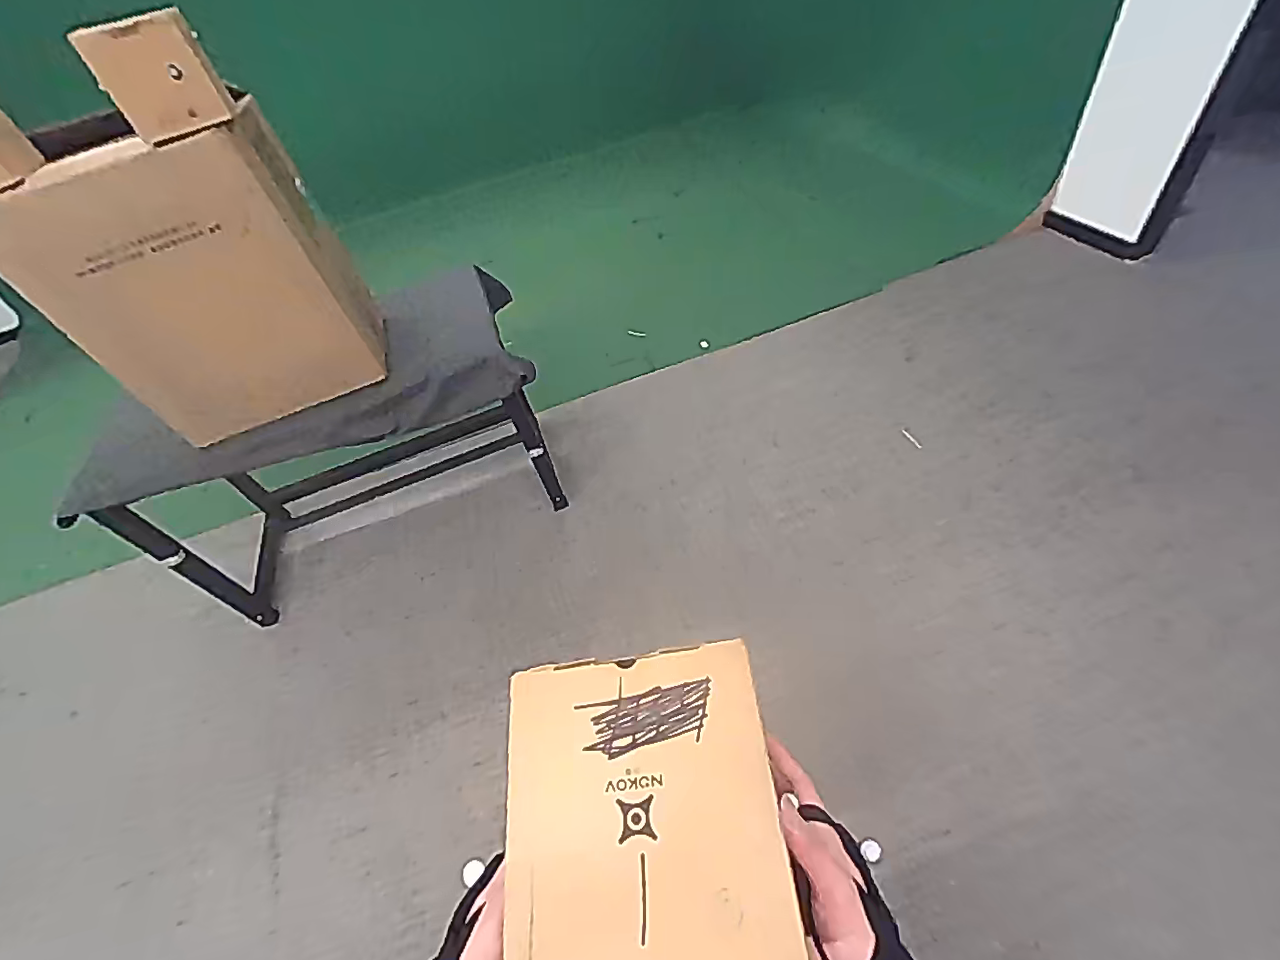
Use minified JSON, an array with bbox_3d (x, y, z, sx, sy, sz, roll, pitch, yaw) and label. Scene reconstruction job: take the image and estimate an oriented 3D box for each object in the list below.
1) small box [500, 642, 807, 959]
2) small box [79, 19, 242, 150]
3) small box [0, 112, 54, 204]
[{"bbox_3d":[0.013,0.236,0.391,0.168,0.176,0.179,-11,57,7],"label":"small box"},{"bbox_3d":[-0.915,-0.768,1.054,0.168,0.176,0.179,-27,47,-13],"label":"small box"},{"bbox_3d":[-1.282,-0.620,1.017,0.168,0.176,0.179,-26,48,-8],"label":"small box"}]
